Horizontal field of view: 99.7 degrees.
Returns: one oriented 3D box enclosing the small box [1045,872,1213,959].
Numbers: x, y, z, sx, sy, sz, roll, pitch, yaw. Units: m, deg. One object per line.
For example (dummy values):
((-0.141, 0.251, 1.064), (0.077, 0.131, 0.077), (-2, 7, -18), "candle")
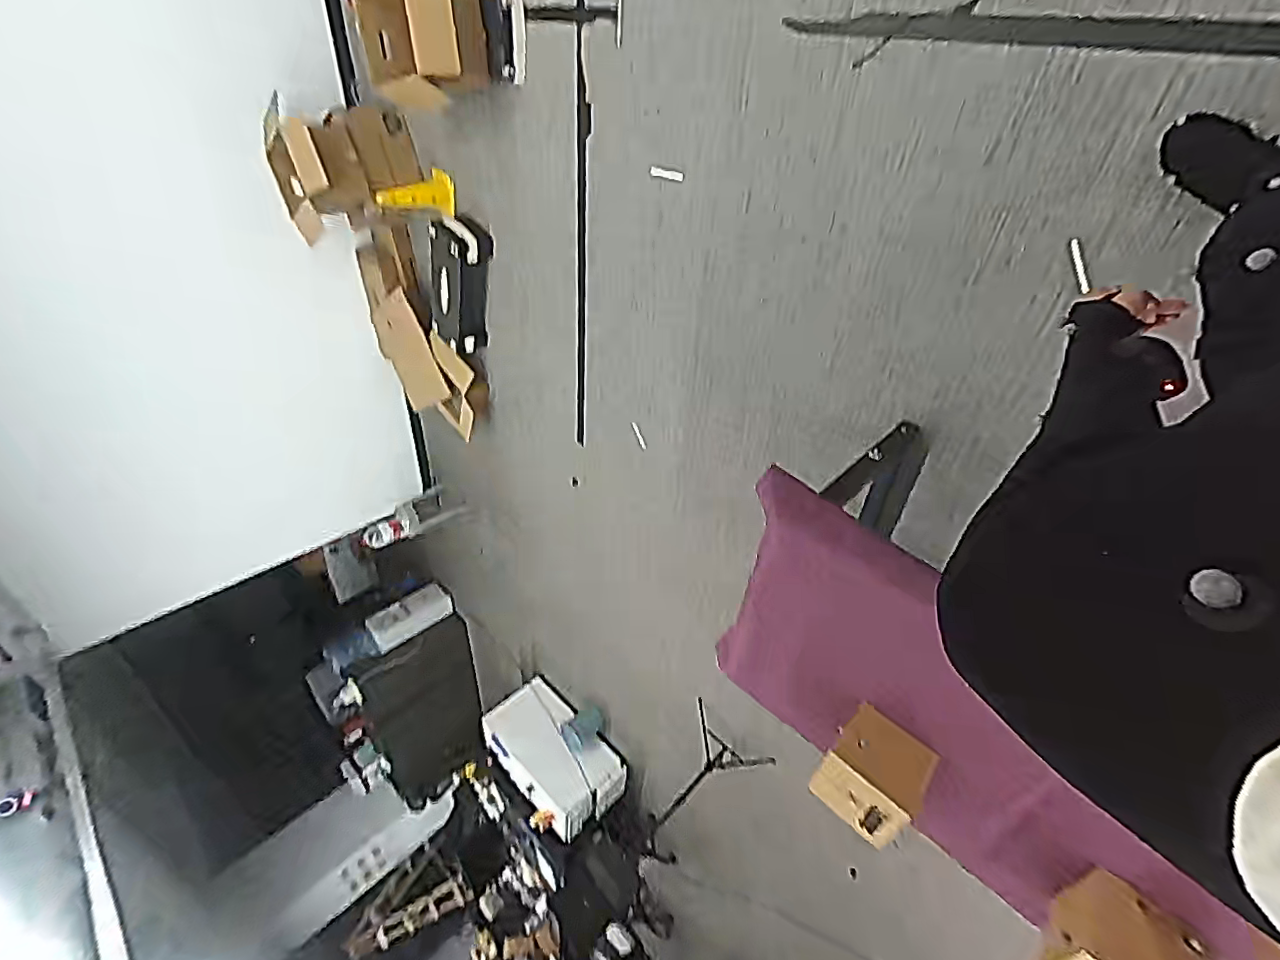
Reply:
((0.836, 0.830, 0.931), (0.168, 0.176, 0.179), (32, 134, 32), "small box")
